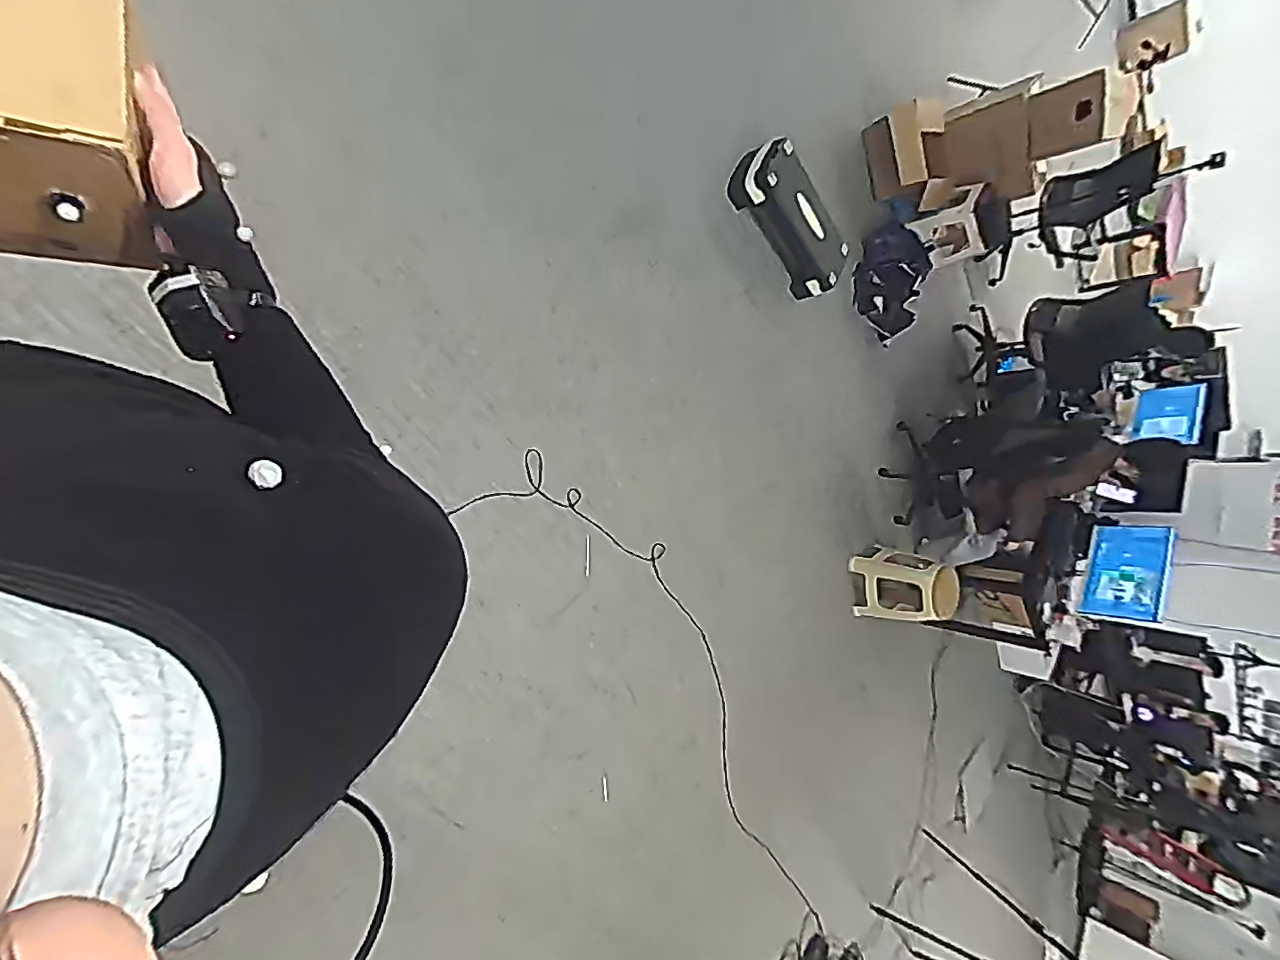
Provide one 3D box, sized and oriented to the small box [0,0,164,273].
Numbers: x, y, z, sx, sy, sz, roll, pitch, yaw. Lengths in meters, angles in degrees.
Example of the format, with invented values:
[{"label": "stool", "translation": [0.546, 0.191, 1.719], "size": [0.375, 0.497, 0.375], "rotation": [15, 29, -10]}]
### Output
[{"label": "small box", "translation": [-0.483, -0.286, 0.411], "size": [0.168, 0.176, 0.179], "rotation": [-4, 77, -36]}]
